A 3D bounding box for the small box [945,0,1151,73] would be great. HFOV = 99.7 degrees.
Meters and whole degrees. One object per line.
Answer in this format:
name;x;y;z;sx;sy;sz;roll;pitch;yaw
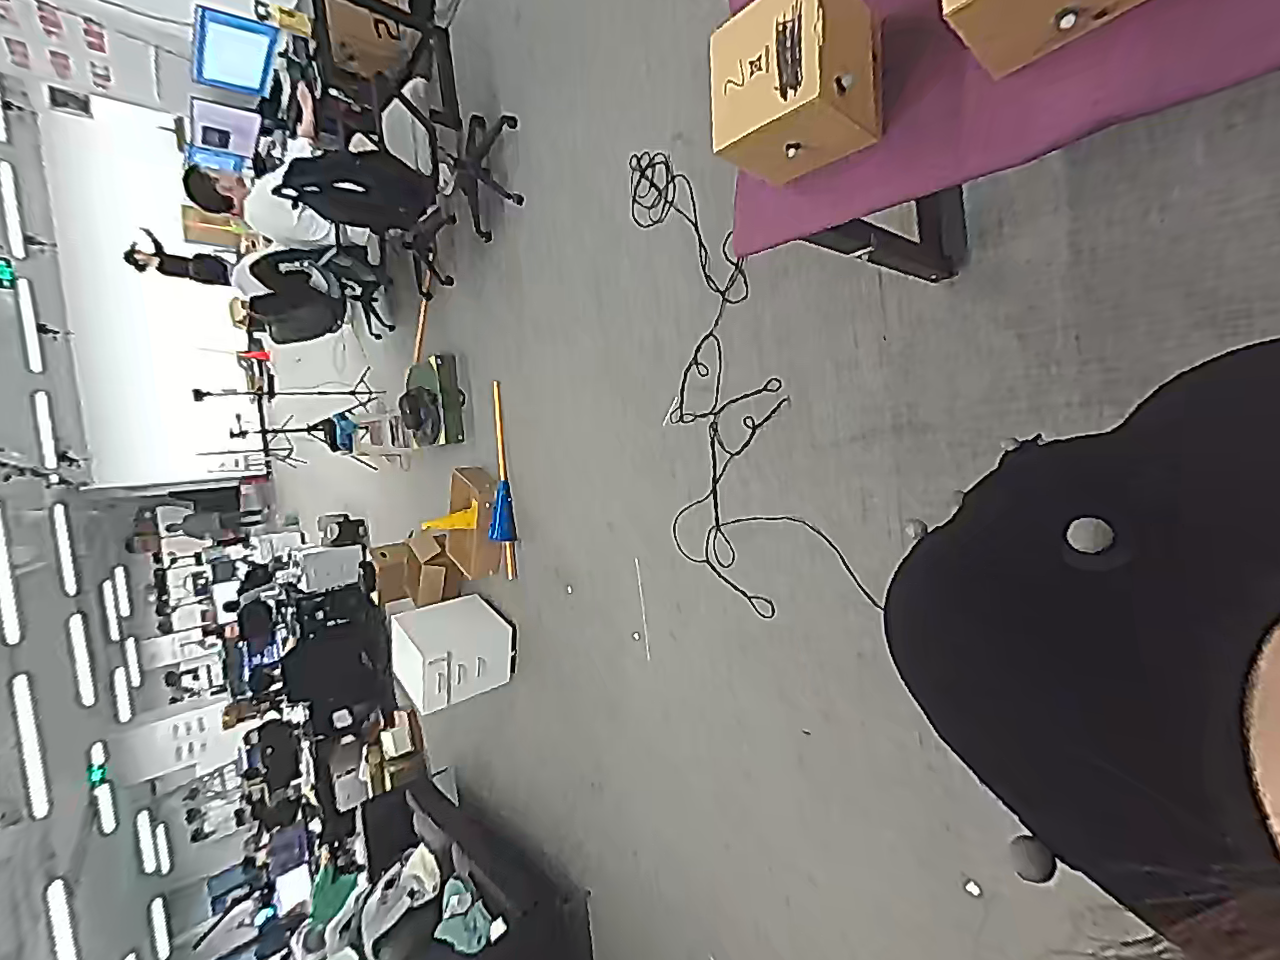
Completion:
small box;0.422;-0.574;0.549;0.168;0.176;0.179;-5;91;49
